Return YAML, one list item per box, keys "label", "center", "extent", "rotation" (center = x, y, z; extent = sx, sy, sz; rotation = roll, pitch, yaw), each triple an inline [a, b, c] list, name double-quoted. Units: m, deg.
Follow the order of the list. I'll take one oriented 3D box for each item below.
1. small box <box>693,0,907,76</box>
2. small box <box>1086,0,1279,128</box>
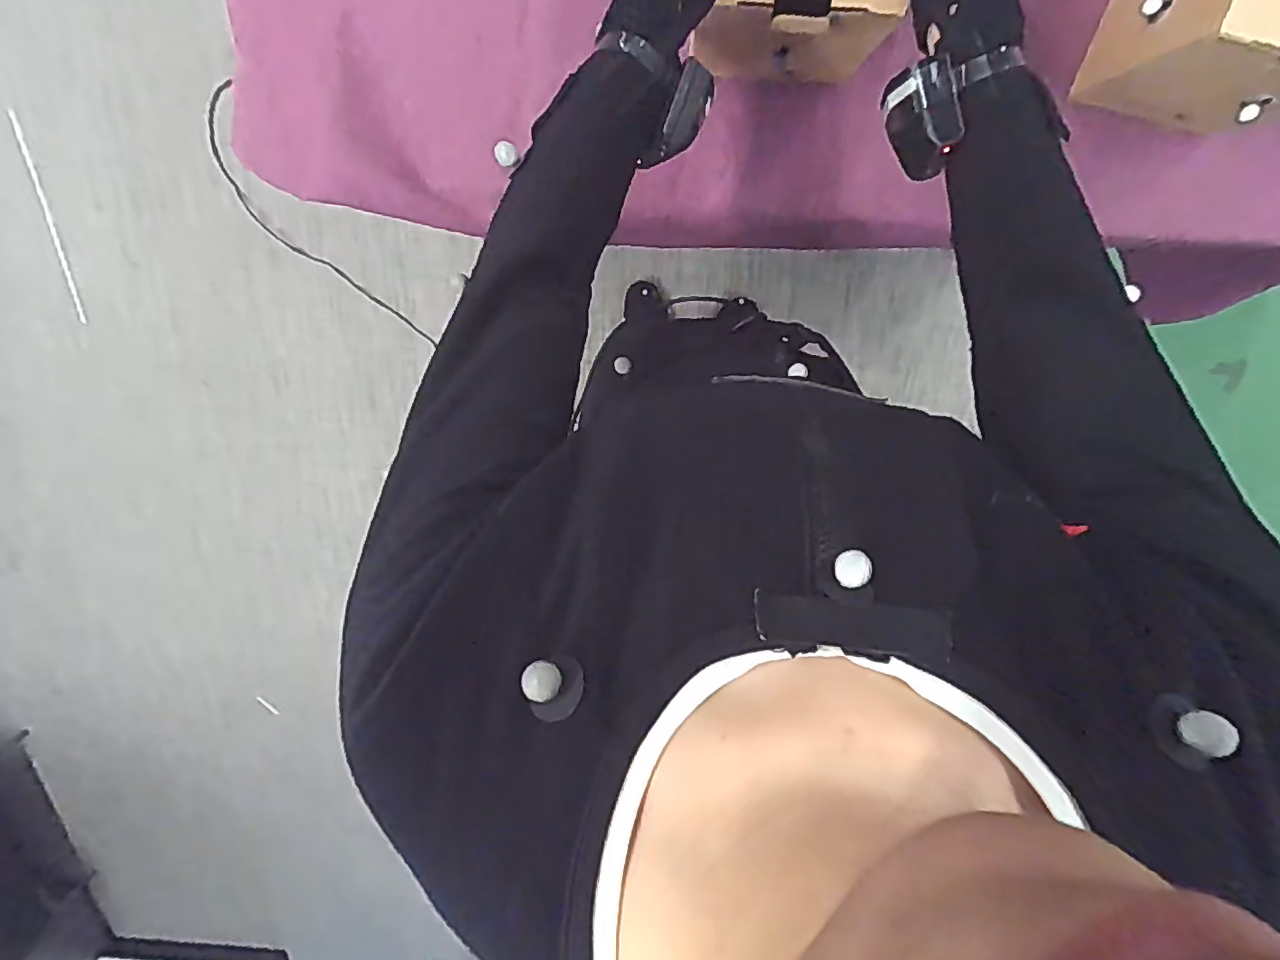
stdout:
- label: "small box"
  center: [0.135, -0.475, 0.463]
  extent: [0.168, 0.176, 0.179]
  rotation: [4, 112, 1]
- label: "small box"
  center: [0.539, -0.429, 0.458]
  extent: [0.168, 0.176, 0.179]
  rotation: [13, 111, -2]
